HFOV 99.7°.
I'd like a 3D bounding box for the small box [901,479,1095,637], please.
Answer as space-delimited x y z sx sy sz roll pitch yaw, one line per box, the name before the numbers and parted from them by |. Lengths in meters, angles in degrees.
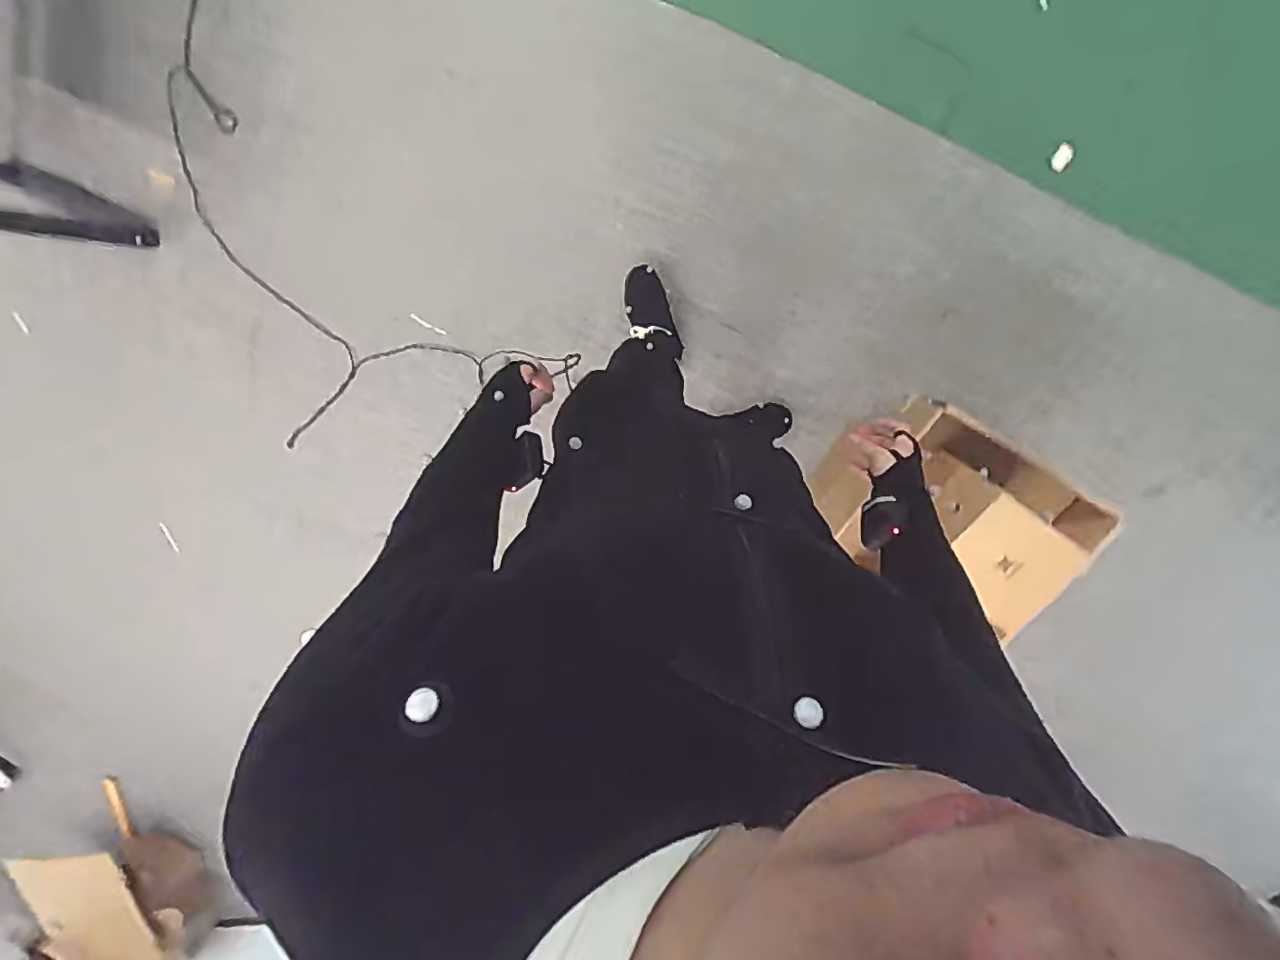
small box | 0.573 0.116 0.897 0.179 0.176 0.168 35 109 -1
